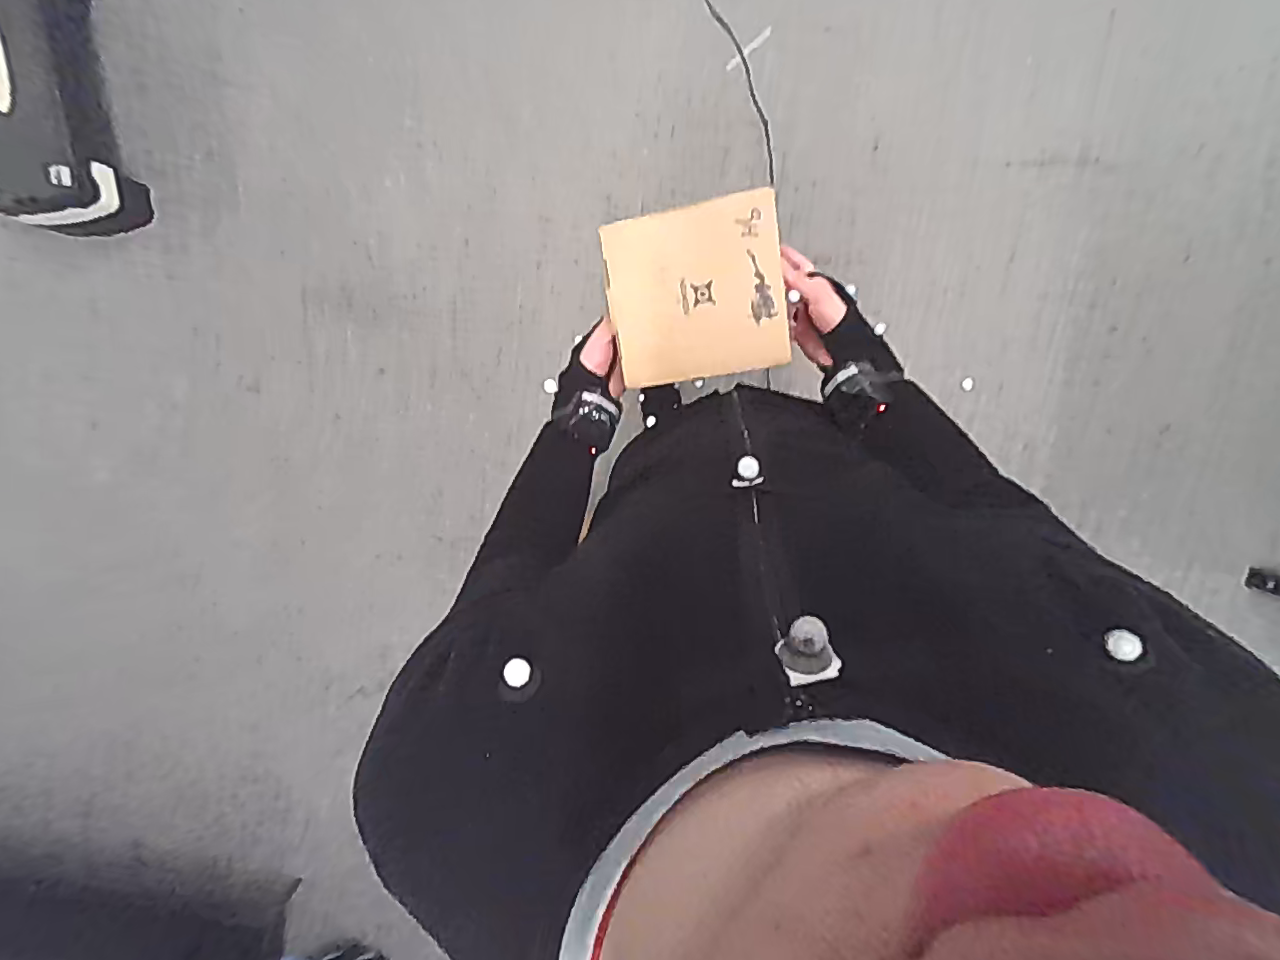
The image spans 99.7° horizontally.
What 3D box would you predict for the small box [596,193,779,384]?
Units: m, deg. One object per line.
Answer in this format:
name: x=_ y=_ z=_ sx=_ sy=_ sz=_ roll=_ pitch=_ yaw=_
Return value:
small box: x=0.066 y=-0.206 z=0.620 sx=0.179 sy=0.176 sz=0.168 roll=-5 pitch=104 yaw=14
